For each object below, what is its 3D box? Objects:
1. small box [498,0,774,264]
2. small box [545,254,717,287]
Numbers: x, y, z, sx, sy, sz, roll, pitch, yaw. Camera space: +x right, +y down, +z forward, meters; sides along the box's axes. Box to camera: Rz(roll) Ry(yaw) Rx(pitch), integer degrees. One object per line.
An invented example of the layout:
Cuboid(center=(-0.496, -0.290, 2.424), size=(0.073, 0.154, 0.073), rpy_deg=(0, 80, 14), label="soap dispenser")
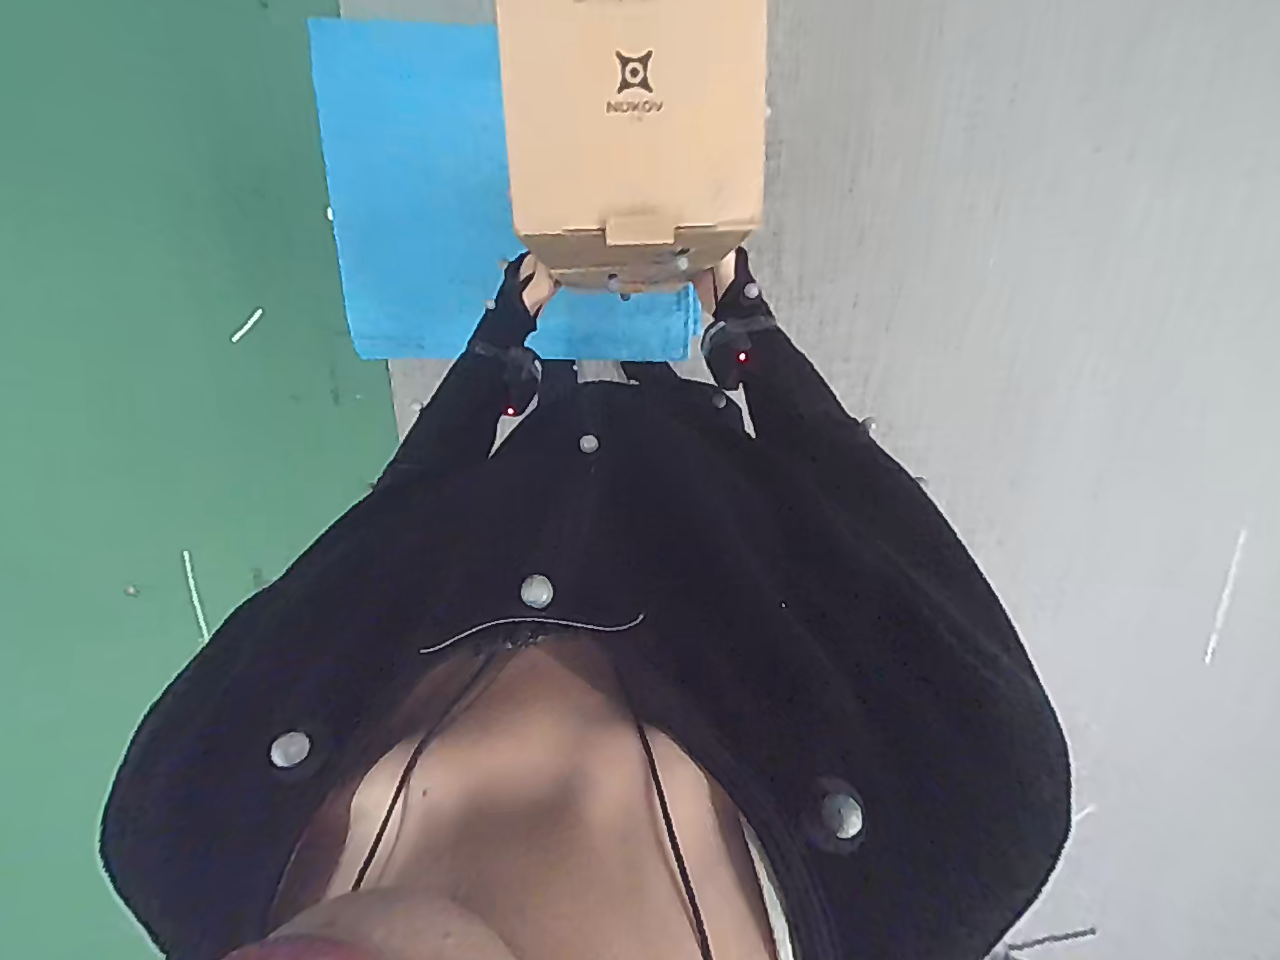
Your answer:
Cuboid(center=(-0.005, -0.264, 0.406), size=(0.168, 0.176, 0.179), rpy_deg=(-2, 103, -3), label="small box")
Cuboid(center=(-0.015, -0.301, 0.565), size=(0.168, 0.176, 0.179), rpy_deg=(-5, 104, -2), label="small box")
